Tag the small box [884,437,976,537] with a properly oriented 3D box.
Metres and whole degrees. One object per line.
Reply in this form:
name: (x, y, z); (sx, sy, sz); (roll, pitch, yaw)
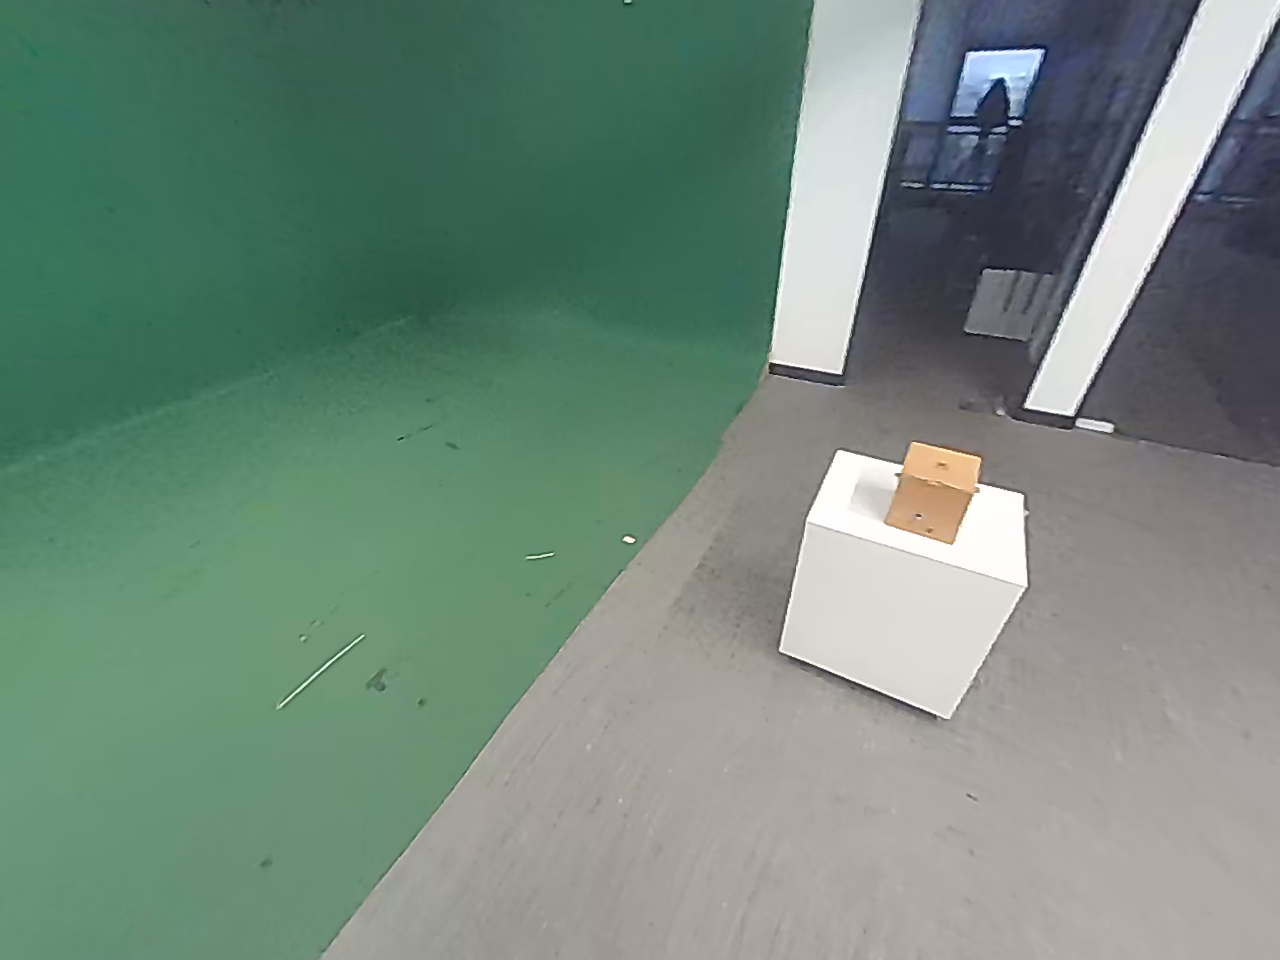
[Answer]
small box: (0.747, 0.016, 1.399); (0.168, 0.176, 0.179); (18, 40, 24)
